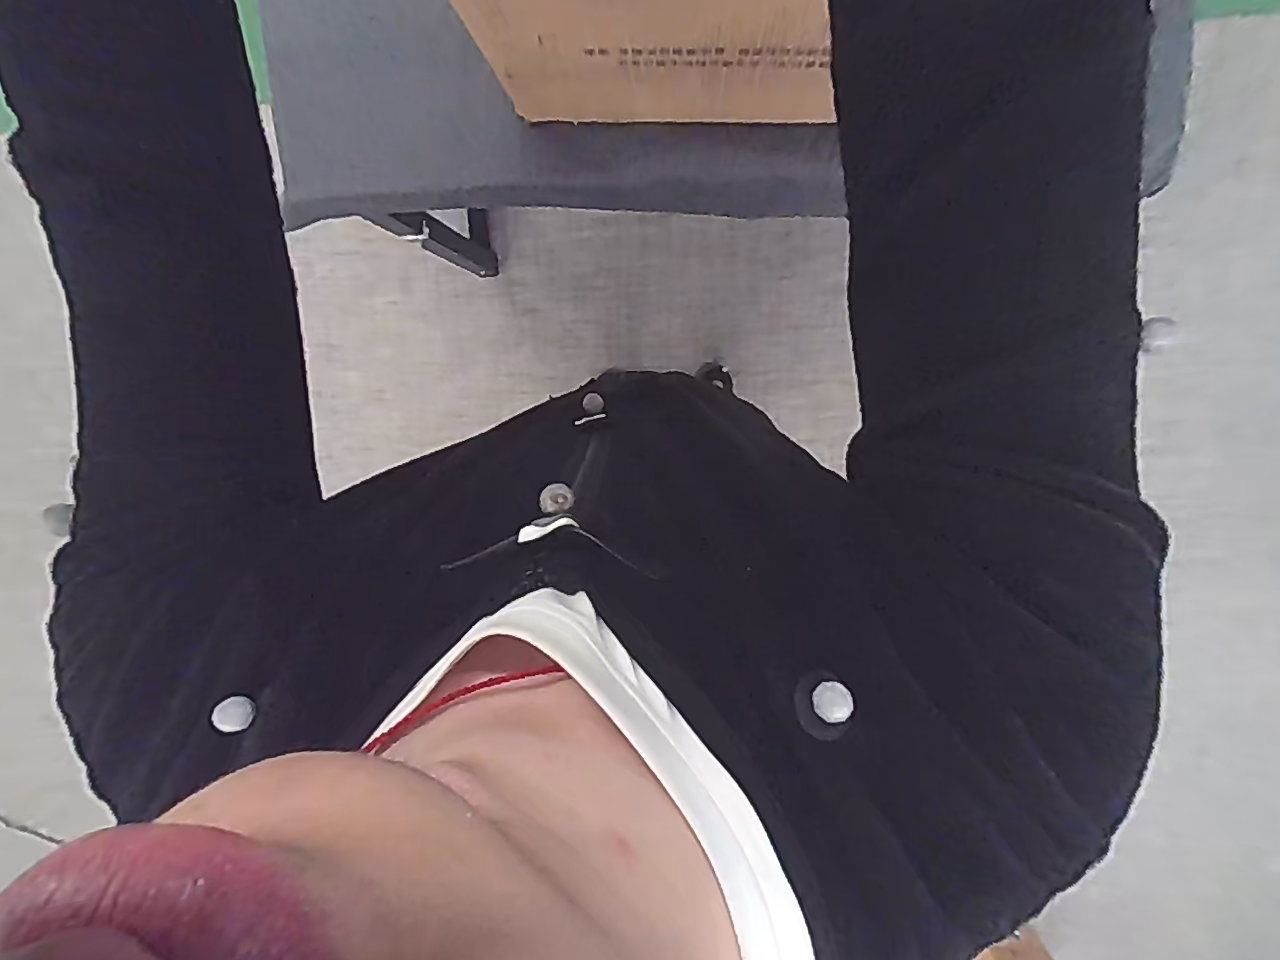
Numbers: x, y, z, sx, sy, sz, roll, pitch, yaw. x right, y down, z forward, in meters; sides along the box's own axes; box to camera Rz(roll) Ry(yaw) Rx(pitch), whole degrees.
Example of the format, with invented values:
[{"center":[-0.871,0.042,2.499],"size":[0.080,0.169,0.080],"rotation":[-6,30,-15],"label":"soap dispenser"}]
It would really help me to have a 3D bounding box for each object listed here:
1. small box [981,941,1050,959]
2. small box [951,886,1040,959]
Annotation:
[{"center":[1.076,1.434,1.507],"size":[0.168,0.176,0.179],"rotation":[-2,102,5],"label":"small box"},{"center":[1.085,1.404,1.666],"size":[0.168,0.176,0.179],"rotation":[0,101,3],"label":"small box"}]
